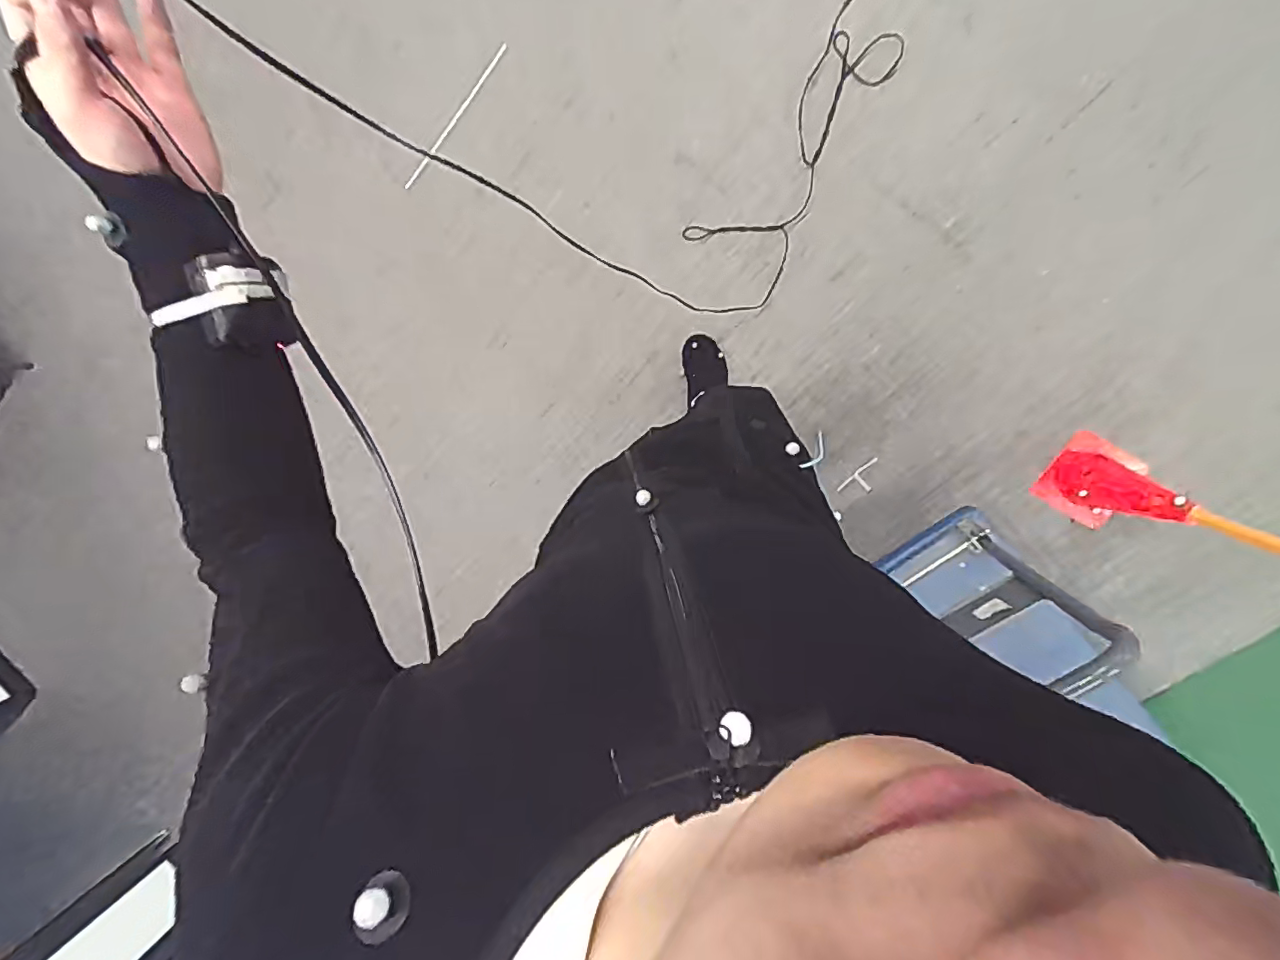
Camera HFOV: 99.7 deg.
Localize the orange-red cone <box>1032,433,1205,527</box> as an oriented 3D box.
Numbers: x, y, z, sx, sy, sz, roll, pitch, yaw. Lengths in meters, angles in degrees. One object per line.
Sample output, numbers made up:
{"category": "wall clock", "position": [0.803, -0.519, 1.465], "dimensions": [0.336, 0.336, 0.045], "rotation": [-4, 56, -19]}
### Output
{"category": "orange-red cone", "position": [1.124, 0.034, 1.234], "dimensions": [0.198, 0.360, 0.199], "rotation": [33, 105, 3]}
